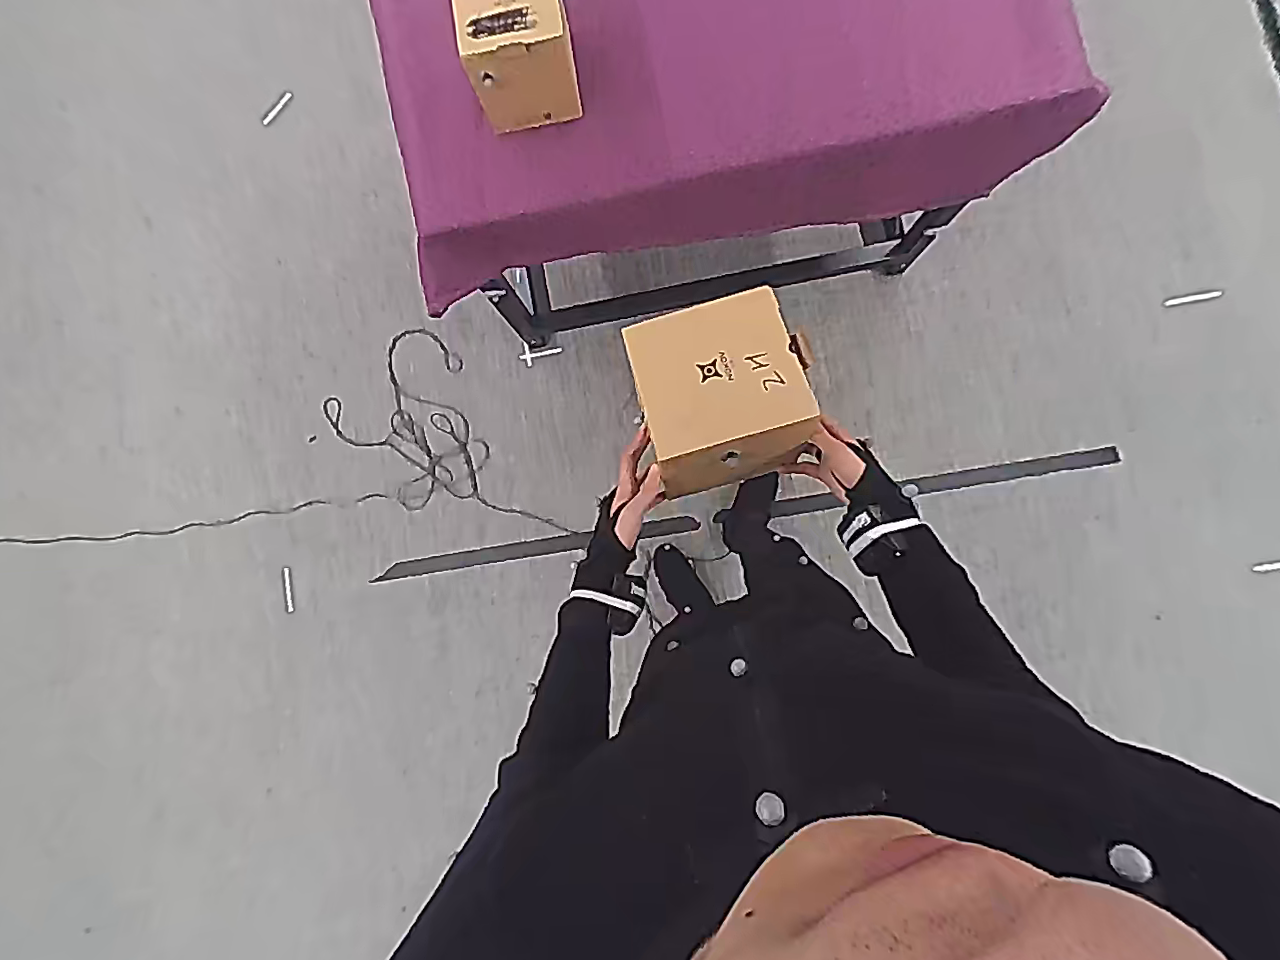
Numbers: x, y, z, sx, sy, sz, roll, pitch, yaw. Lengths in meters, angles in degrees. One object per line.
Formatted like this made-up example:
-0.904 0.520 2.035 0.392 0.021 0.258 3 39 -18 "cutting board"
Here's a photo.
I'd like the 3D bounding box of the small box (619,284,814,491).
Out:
0.087 -0.099 0.657 0.179 0.176 0.168 -16 73 1 "small box"
